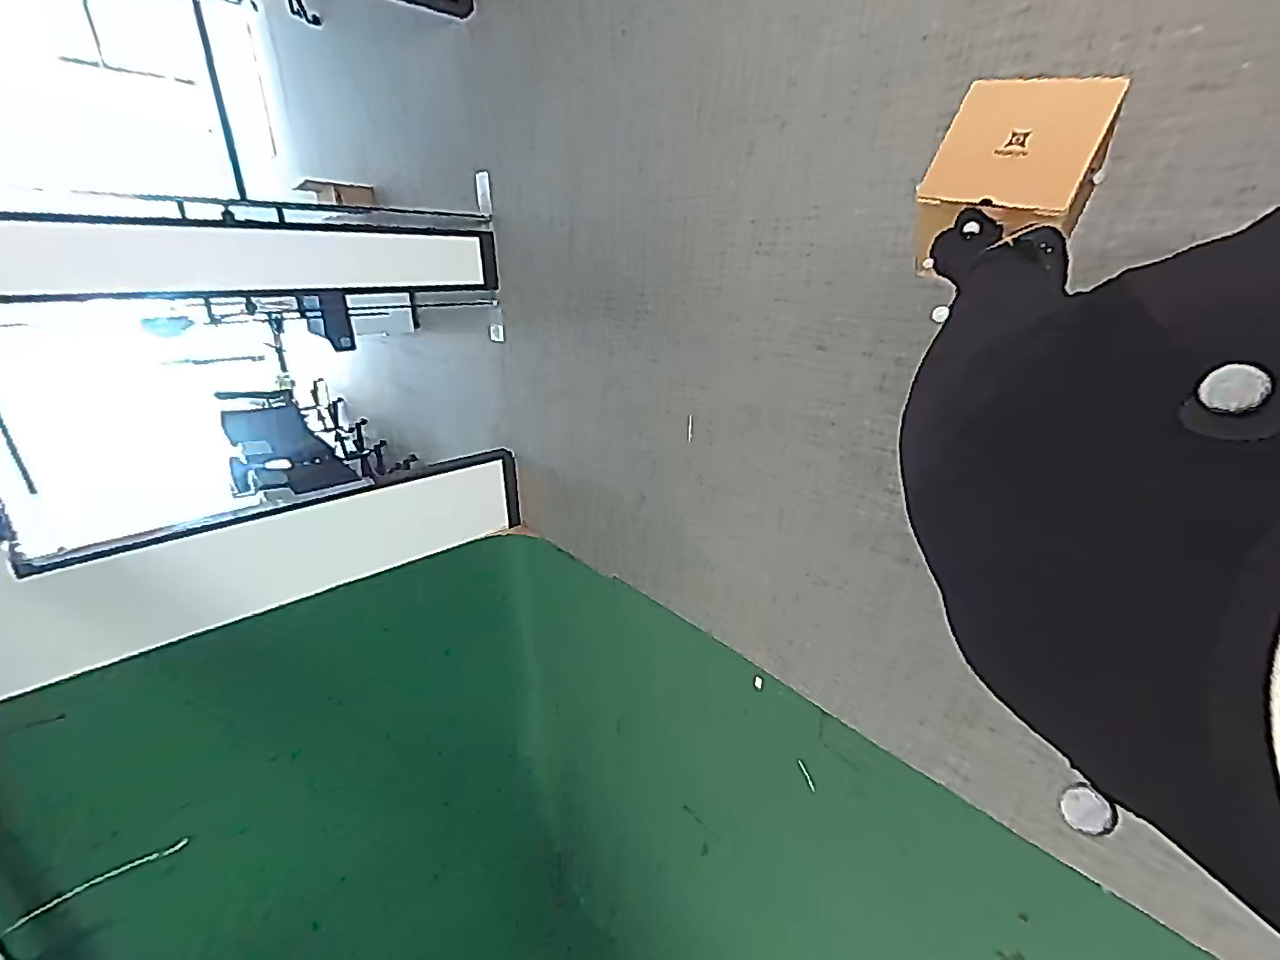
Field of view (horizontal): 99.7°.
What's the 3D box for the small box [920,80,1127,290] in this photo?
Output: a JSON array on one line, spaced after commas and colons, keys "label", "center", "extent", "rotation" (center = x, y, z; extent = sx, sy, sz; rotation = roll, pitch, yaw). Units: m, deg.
[{"label": "small box", "center": [0.495, -0.389, 0.725], "extent": [0.168, 0.176, 0.179], "rotation": [25, 87, 32]}]
